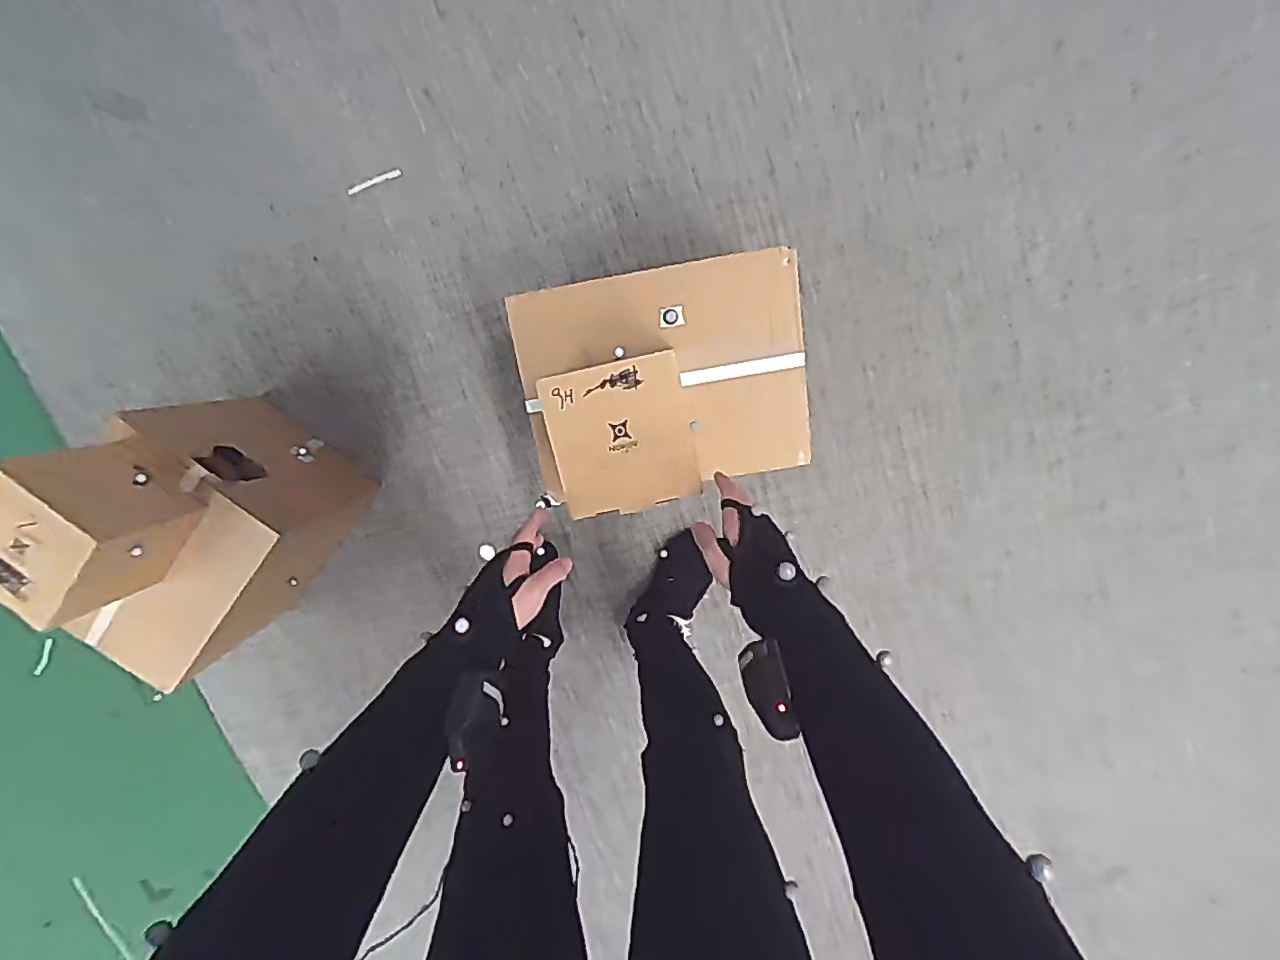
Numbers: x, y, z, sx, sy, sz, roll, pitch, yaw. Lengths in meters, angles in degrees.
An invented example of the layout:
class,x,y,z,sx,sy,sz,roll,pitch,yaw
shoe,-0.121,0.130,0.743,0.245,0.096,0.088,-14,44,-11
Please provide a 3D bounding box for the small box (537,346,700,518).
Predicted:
class,x,y,z,sx,sy,sz,roll,pitch,yaw
small box,-0.018,-0.071,0.705,0.168,0.176,0.179,-11,105,5

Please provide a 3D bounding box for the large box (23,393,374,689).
class,x,y,z,sx,sy,sz,roll,pitch,yaw
large box,-0.806,0.093,1.037,0.320,0.320,0.408,39,103,-6
